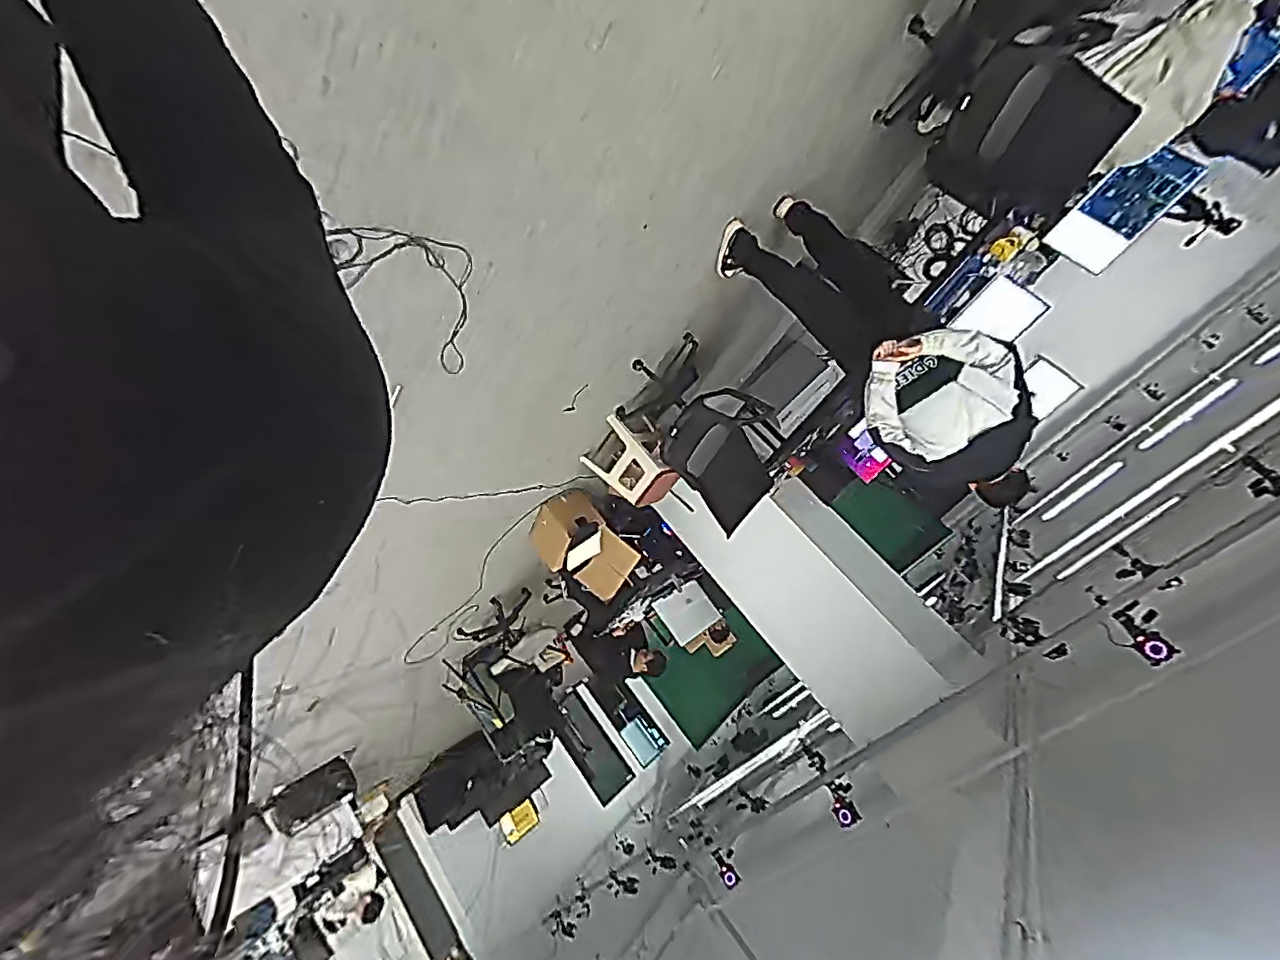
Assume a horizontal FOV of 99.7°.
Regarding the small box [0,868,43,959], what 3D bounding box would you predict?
[{"bbox_3d":[-1.504,1.033,1.222,0.179,0.176,0.168,-12,146,-56],"label":"small box"}]
